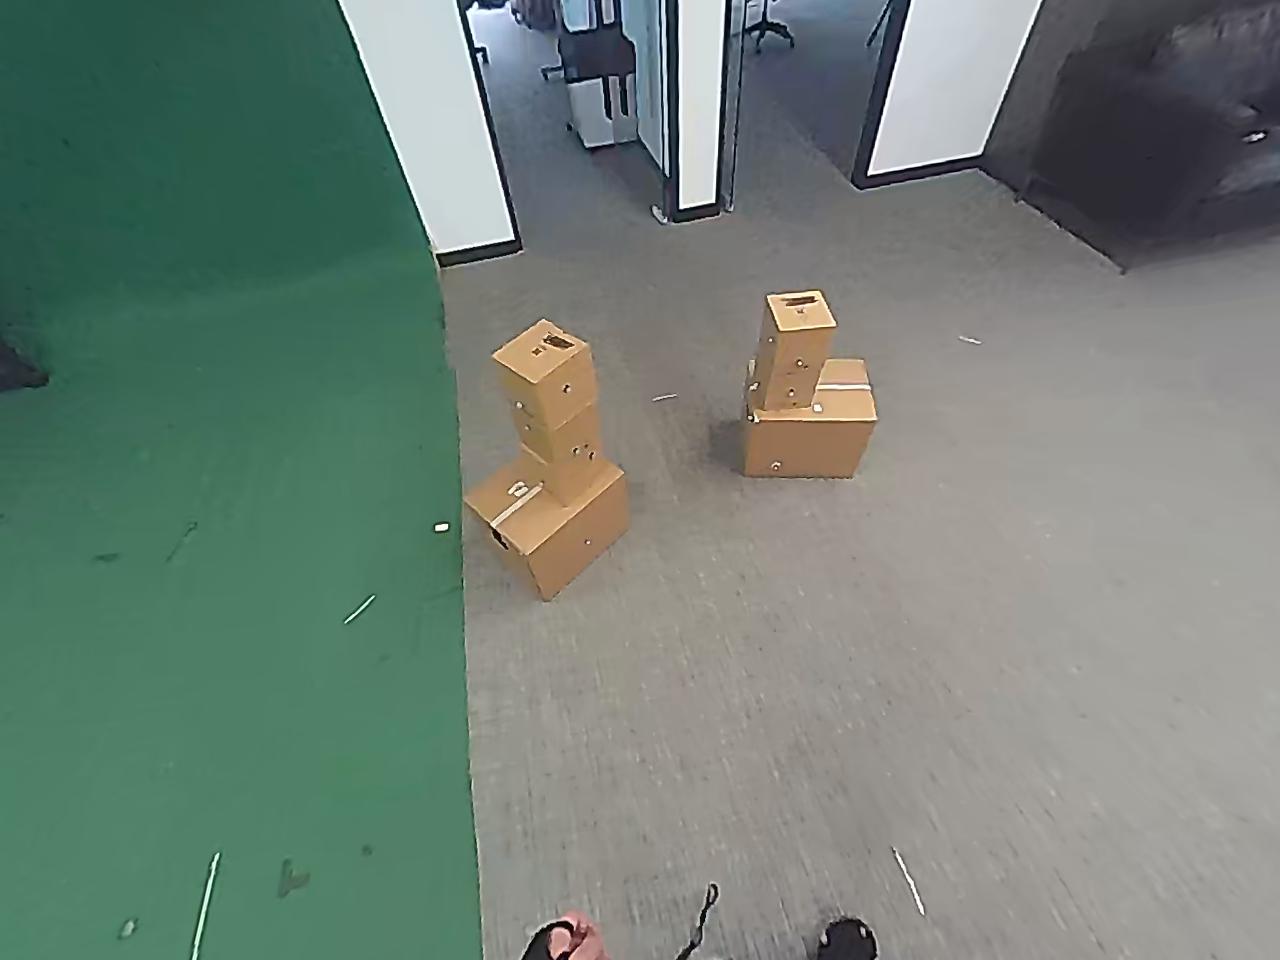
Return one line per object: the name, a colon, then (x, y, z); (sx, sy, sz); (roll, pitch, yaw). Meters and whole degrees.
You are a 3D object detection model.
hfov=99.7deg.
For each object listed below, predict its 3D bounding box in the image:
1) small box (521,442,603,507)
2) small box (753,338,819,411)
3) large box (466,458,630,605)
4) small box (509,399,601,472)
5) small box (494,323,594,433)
small box: (-0.226, -0.056, 1.614); (0.168, 0.176, 0.179); (34, 61, 27)
small box: (0.479, -0.343, 1.794); (0.168, 0.176, 0.179); (-4, 53, 0)
large box: (-0.284, 0.125, 1.789); (0.320, 0.320, 0.408); (34, 62, 28)
small box: (-0.228, -0.154, 1.484); (0.179, 0.176, 0.168); (37, 63, 27)
small box: (-0.231, -0.254, 1.355); (0.168, 0.176, 0.179); (34, 63, 27)
